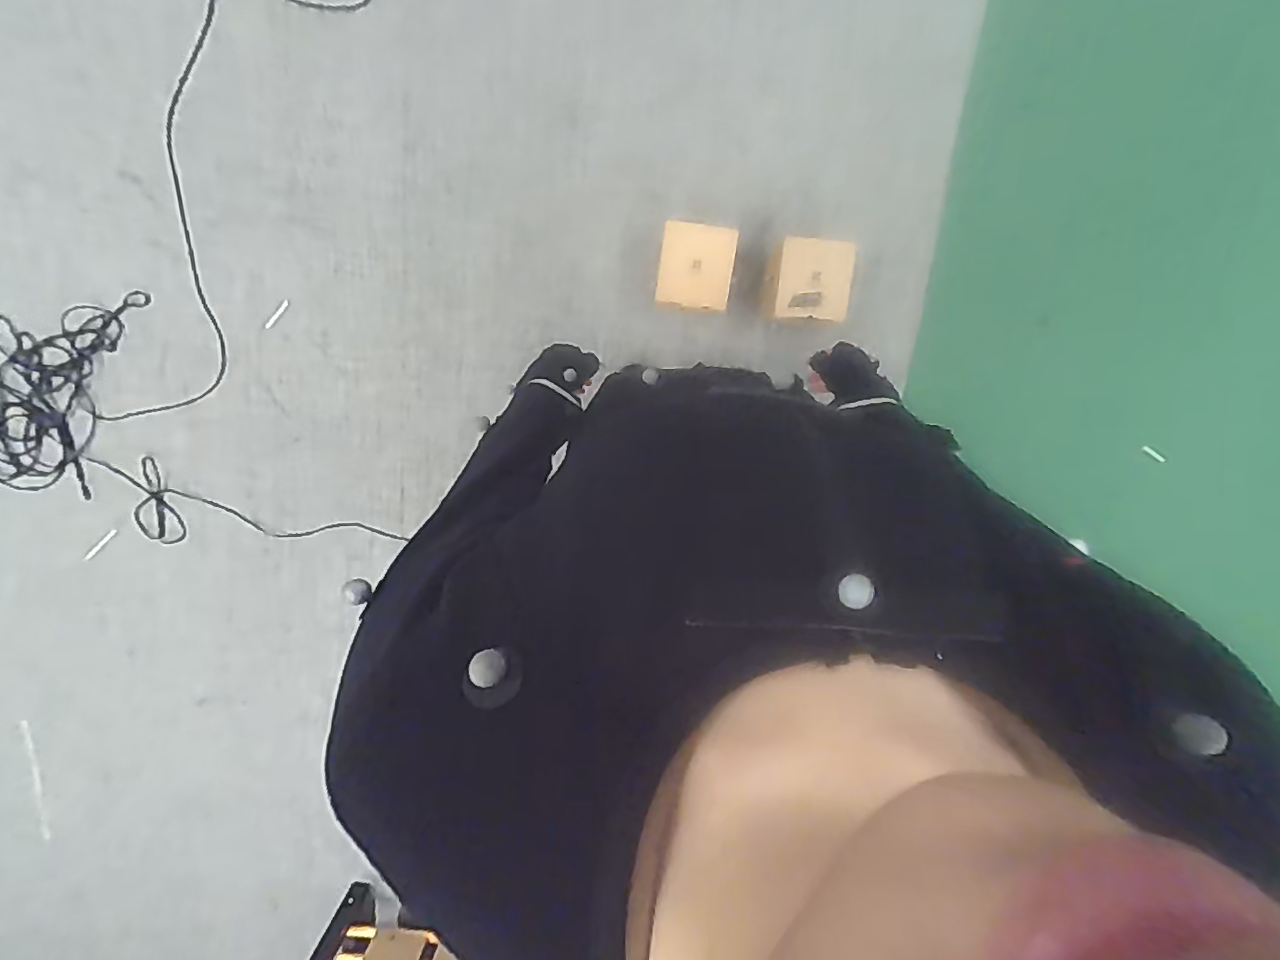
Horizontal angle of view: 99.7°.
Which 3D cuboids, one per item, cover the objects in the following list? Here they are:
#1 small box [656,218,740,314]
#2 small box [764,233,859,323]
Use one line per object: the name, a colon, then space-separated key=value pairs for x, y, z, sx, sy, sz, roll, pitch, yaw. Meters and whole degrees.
small box: x=0.131 y=-0.503 z=1.291 sx=0.168 sy=0.176 sz=0.179 roll=8 pitch=104 yaw=-1
small box: x=0.398 y=-0.472 z=1.289 sx=0.168 sy=0.176 sz=0.179 roll=5 pitch=102 yaw=1
